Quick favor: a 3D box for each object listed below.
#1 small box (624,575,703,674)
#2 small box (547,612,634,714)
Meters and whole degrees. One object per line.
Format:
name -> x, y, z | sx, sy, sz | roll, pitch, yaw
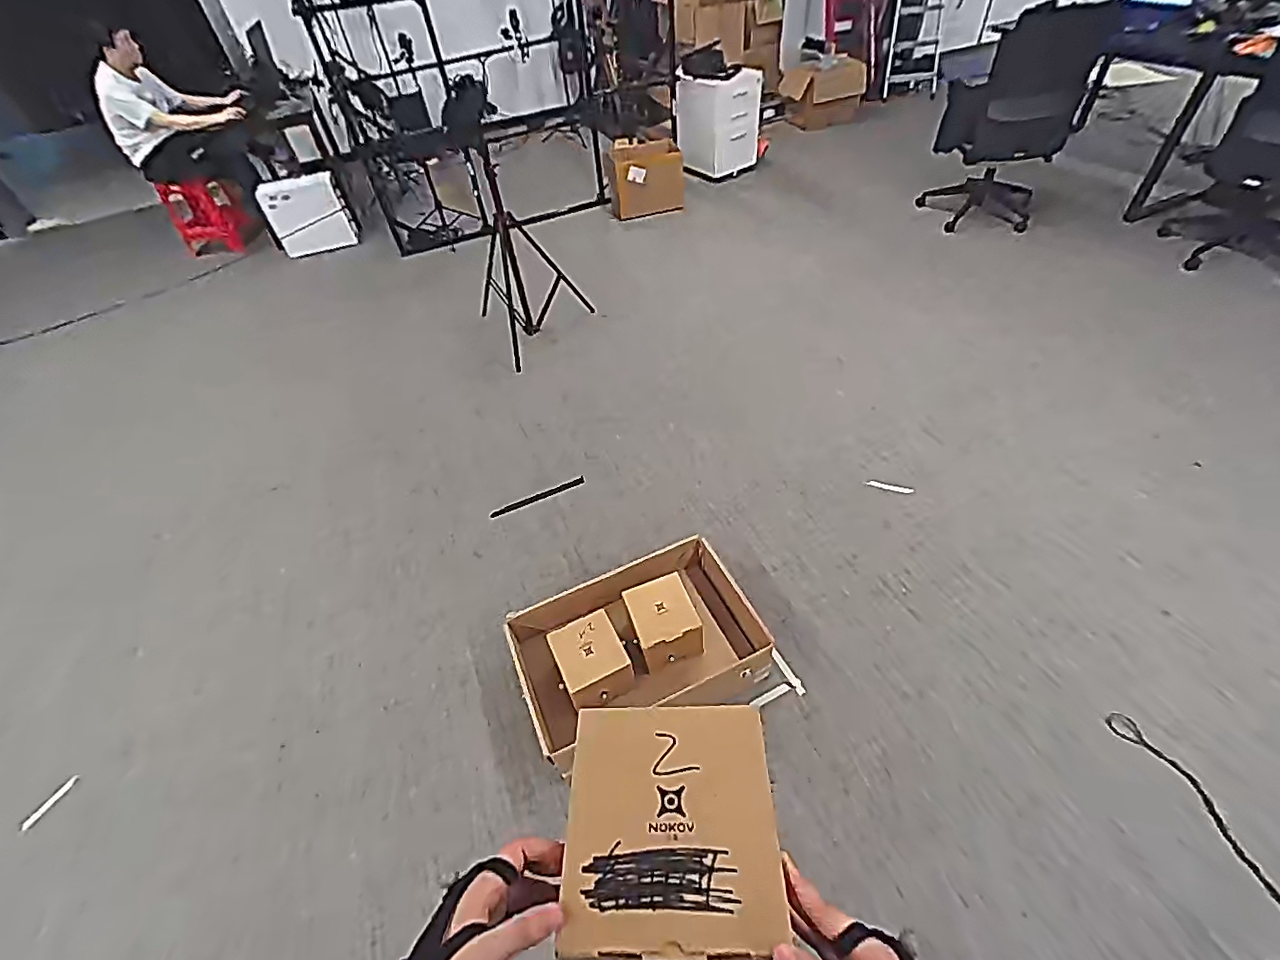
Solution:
small box -> 0.064, 0.397, 1.477 | 0.168, 0.176, 0.179 | -18, 48, -9
small box -> -0.125, 0.486, 1.413 | 0.168, 0.176, 0.179 | -22, 49, -16
